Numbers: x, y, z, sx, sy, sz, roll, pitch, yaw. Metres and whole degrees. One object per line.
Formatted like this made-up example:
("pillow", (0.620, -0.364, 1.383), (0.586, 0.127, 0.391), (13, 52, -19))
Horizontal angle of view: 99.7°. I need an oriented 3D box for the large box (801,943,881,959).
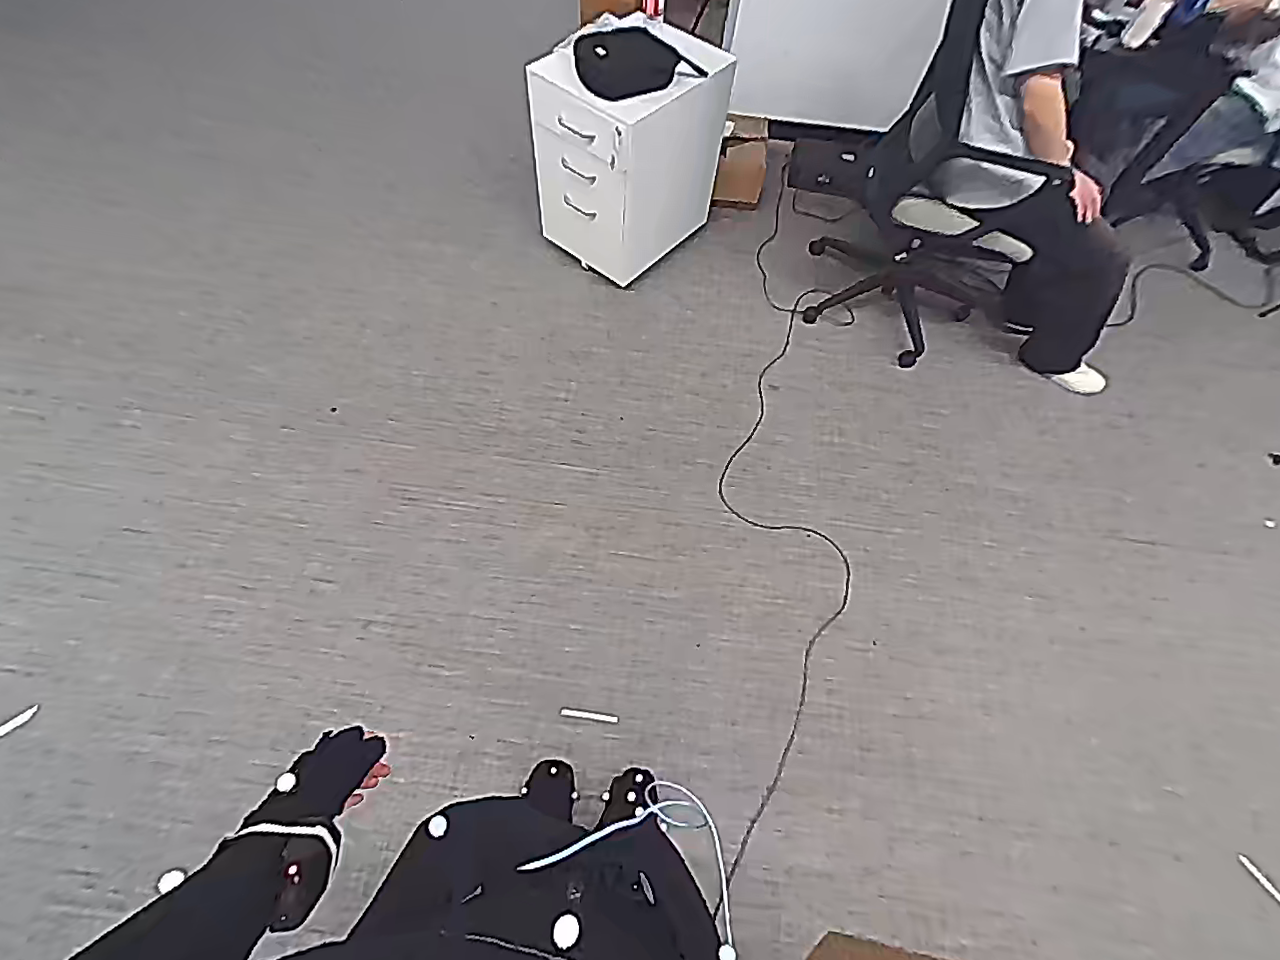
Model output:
("large box", (0.296, 0.805, 0.590), (0.320, 0.408, 0.320), (-28, 65, -27))
